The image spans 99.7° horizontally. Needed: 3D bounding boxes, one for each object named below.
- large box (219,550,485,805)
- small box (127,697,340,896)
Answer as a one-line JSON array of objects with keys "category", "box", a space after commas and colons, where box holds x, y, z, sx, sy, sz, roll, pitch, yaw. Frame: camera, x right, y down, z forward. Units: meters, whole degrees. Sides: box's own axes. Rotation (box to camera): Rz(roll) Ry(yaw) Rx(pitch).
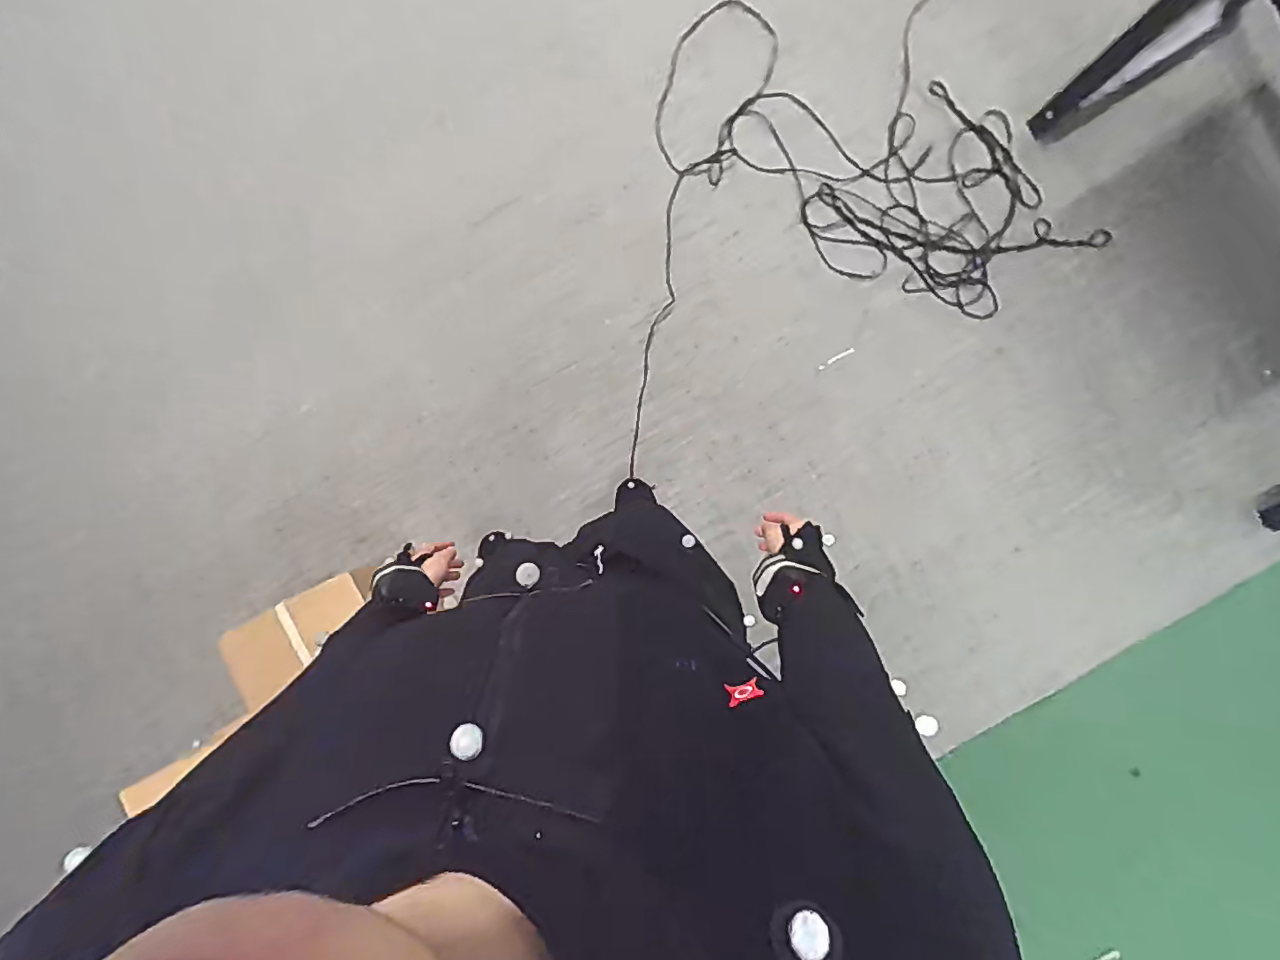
[{"category": "large box", "box": [-0.619, 0.421, 1.232, 0.320, 0.320, 0.408, -27, 90, 1]}, {"category": "small box", "box": [-0.597, 0.465, 0.825, 0.179, 0.176, 0.168, -28, 89, 3]}]
